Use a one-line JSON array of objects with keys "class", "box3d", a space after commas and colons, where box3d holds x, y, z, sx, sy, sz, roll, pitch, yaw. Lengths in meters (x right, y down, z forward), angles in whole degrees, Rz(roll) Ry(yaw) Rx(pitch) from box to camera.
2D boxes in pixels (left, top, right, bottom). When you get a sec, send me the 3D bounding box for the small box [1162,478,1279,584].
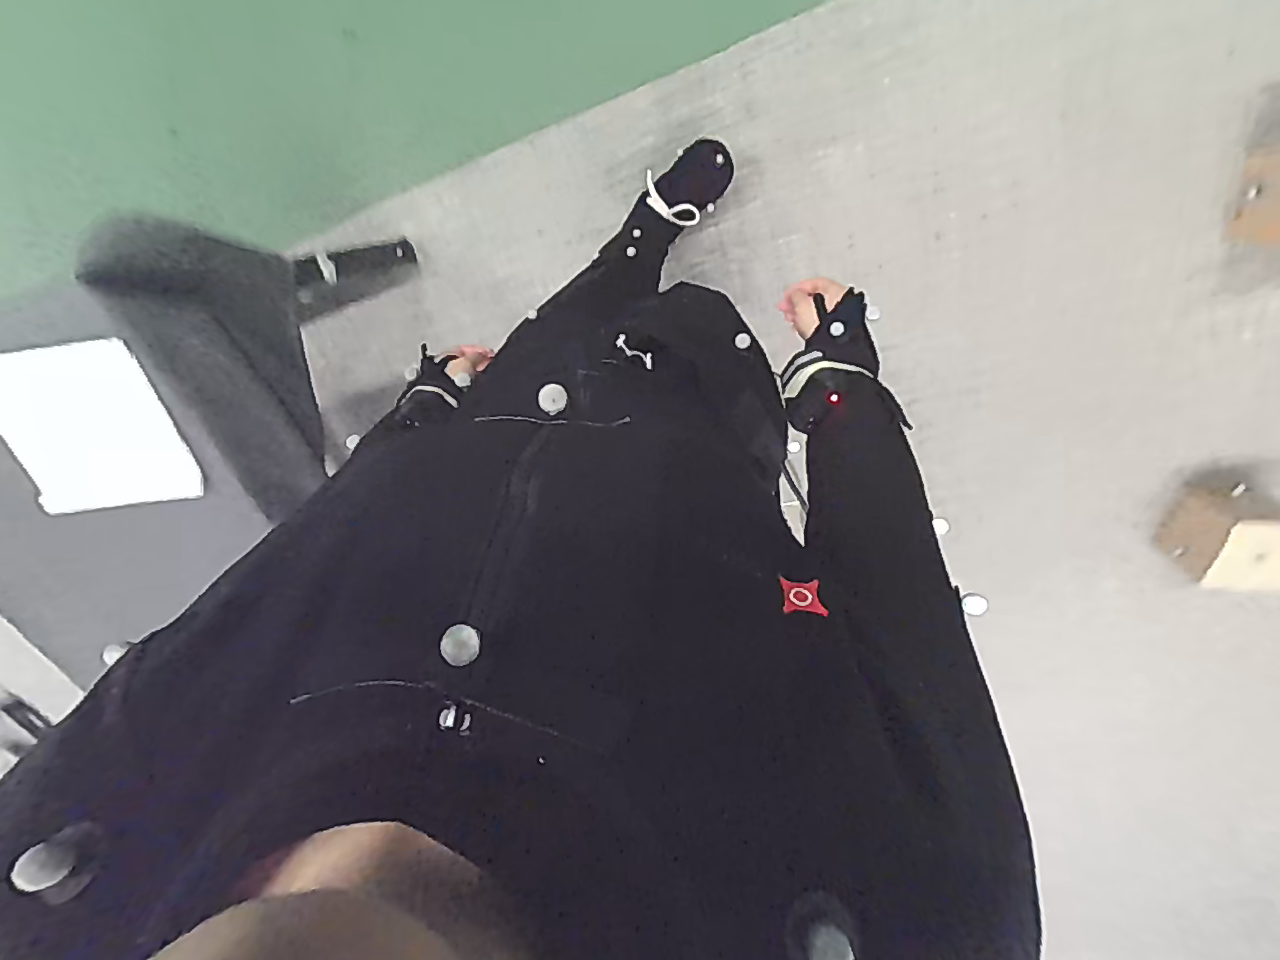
[{"class": "small box", "box3d": [1.349, 0.112, 1.222, 0.168, 0.176, 0.179, 0, 117, 8]}]
